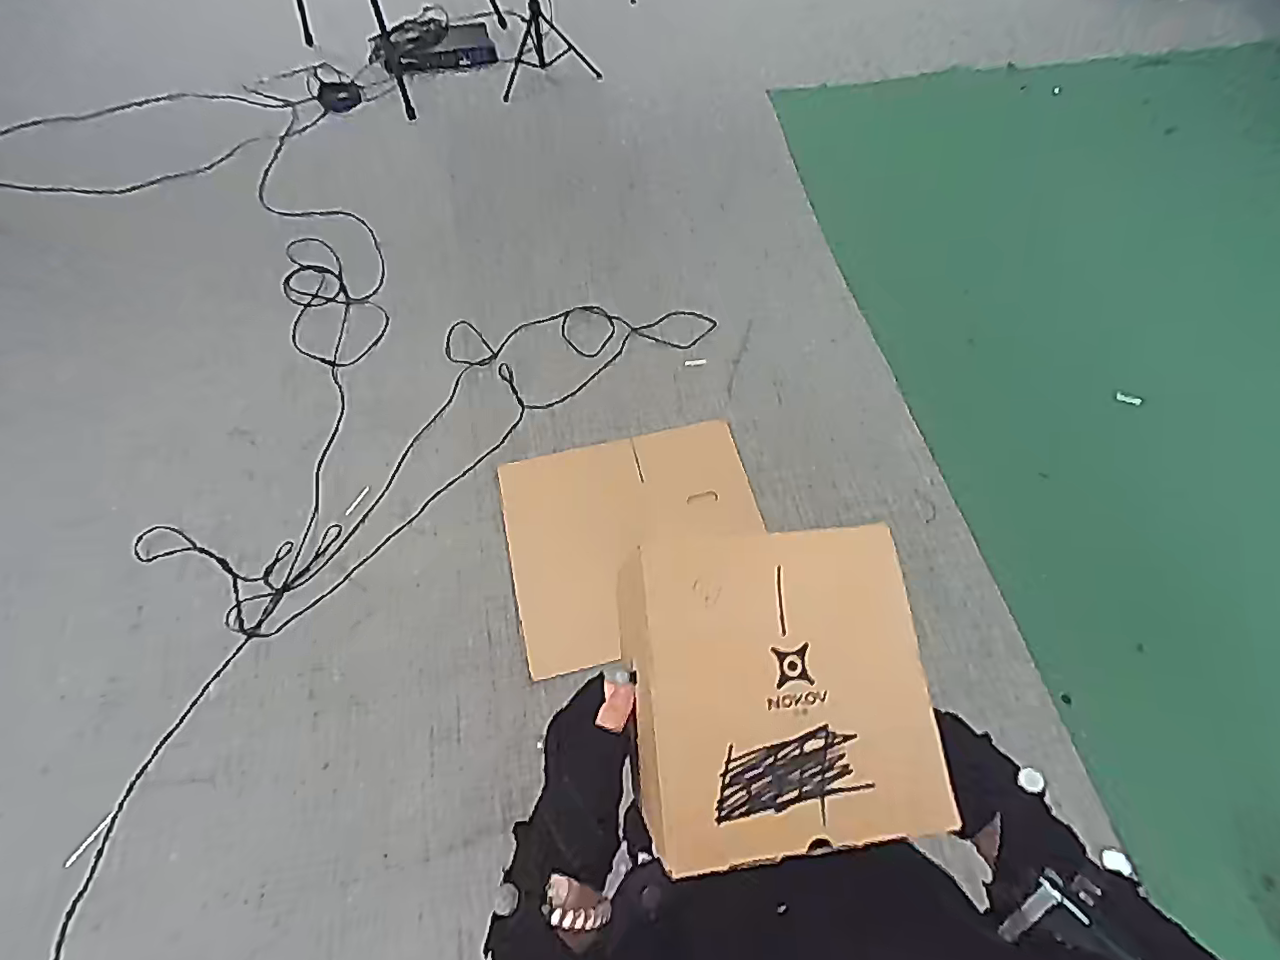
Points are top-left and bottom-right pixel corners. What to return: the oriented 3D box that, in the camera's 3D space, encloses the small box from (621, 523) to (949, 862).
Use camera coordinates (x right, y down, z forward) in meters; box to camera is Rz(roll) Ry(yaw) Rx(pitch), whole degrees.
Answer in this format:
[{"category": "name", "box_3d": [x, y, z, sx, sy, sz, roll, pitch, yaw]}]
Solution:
[{"category": "small box", "box_3d": [0.078, 0.136, 0.392, 0.168, 0.176, 0.179, -3, 74, -8]}]
